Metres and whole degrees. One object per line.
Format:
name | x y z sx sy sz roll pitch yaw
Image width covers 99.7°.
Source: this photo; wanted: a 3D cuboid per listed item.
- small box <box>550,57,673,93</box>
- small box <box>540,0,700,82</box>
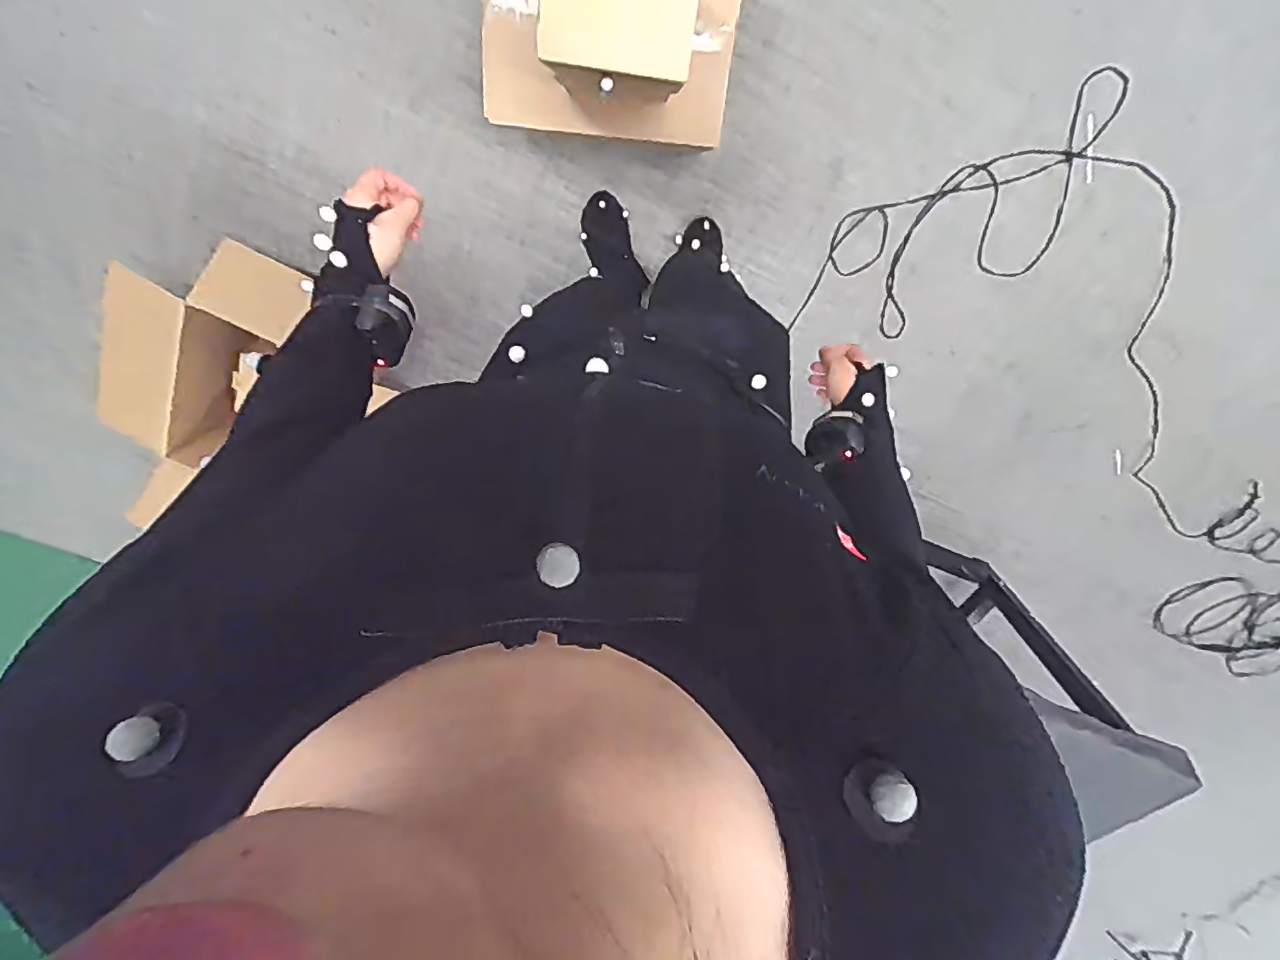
small box | -0.028 -0.675 0.782 0.179 0.176 0.168 6 121 -3
small box | -0.017 -0.590 0.643 0.179 0.176 0.168 7 122 -2
